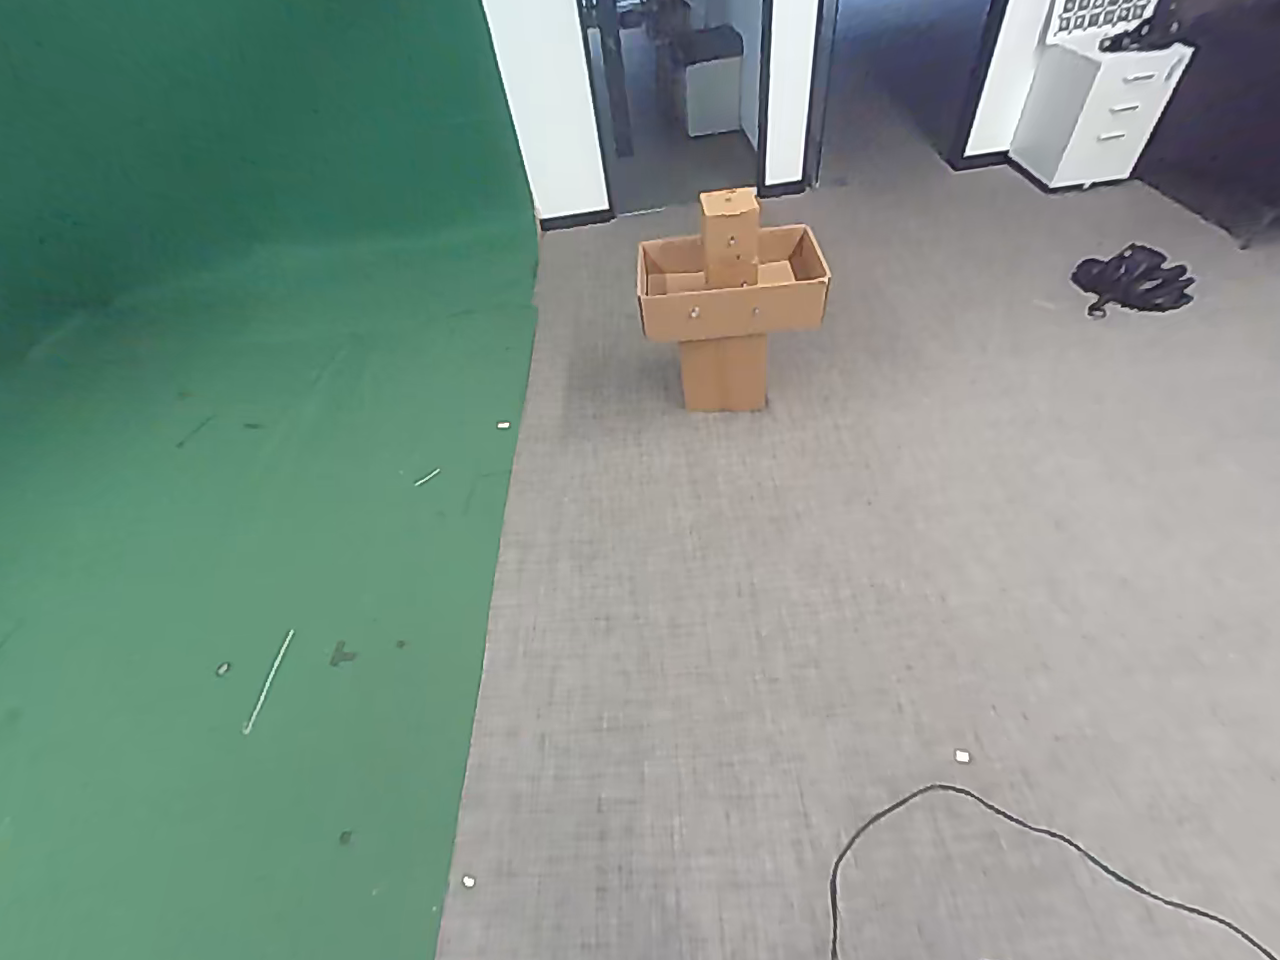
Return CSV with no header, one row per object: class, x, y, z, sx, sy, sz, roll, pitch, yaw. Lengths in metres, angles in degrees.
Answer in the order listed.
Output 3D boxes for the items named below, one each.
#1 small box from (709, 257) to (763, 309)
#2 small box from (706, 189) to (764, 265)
small box,0.334,-0.711,1.888,0.168,0.176,0.179,-5,46,4
small box,0.309,-0.821,1.769,0.168,0.176,0.179,-5,49,4
